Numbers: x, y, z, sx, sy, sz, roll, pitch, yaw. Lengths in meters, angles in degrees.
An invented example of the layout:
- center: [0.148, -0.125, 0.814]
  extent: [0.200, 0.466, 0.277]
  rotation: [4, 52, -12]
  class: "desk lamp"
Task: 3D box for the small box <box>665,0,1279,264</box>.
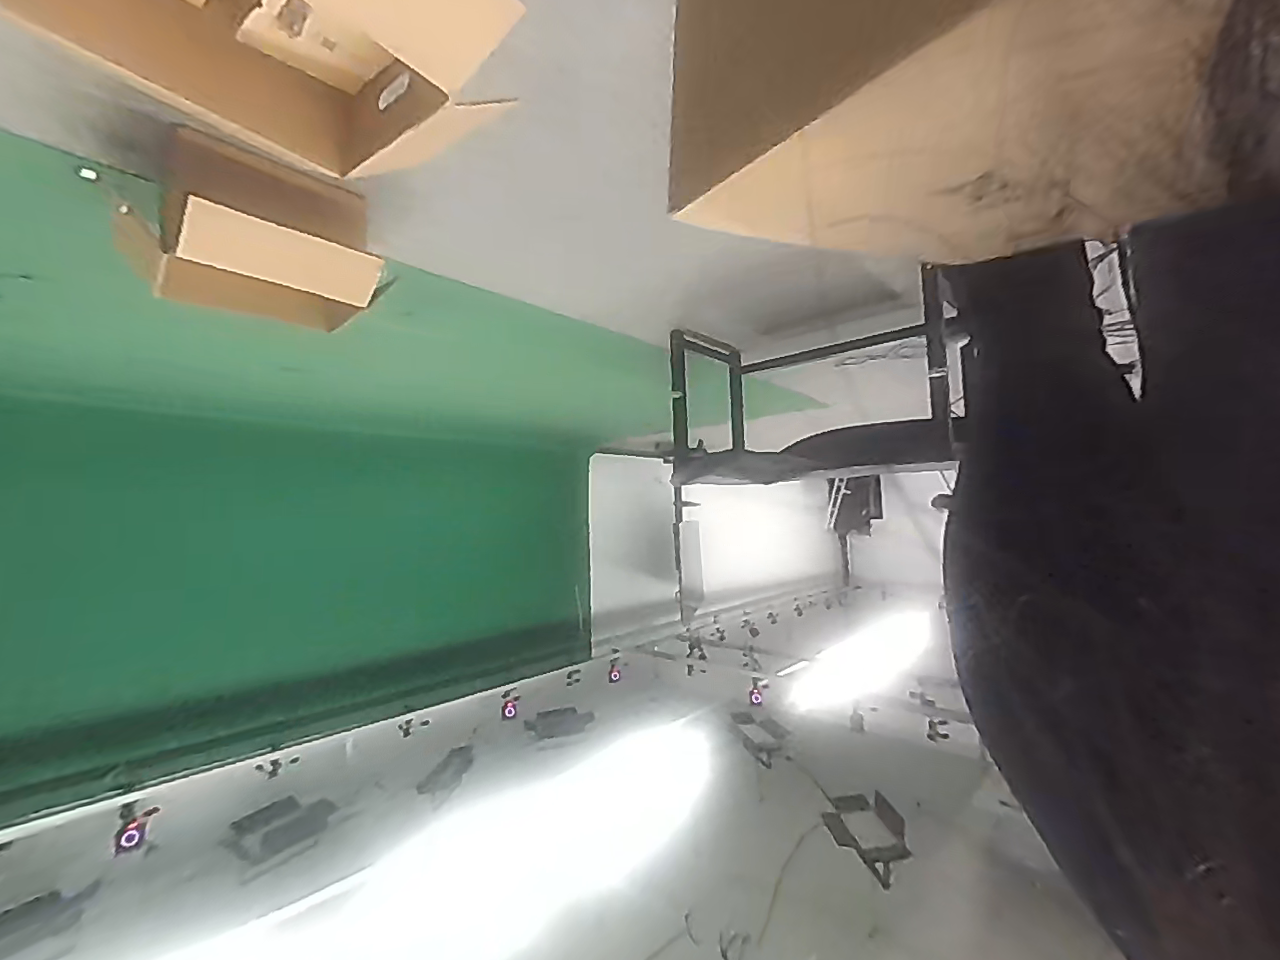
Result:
- center: [0.122, -0.181, 0.170]
  extent: [0.179, 0.176, 0.168]
  rotation: [-2, -168, -22]
  class: "small box"
